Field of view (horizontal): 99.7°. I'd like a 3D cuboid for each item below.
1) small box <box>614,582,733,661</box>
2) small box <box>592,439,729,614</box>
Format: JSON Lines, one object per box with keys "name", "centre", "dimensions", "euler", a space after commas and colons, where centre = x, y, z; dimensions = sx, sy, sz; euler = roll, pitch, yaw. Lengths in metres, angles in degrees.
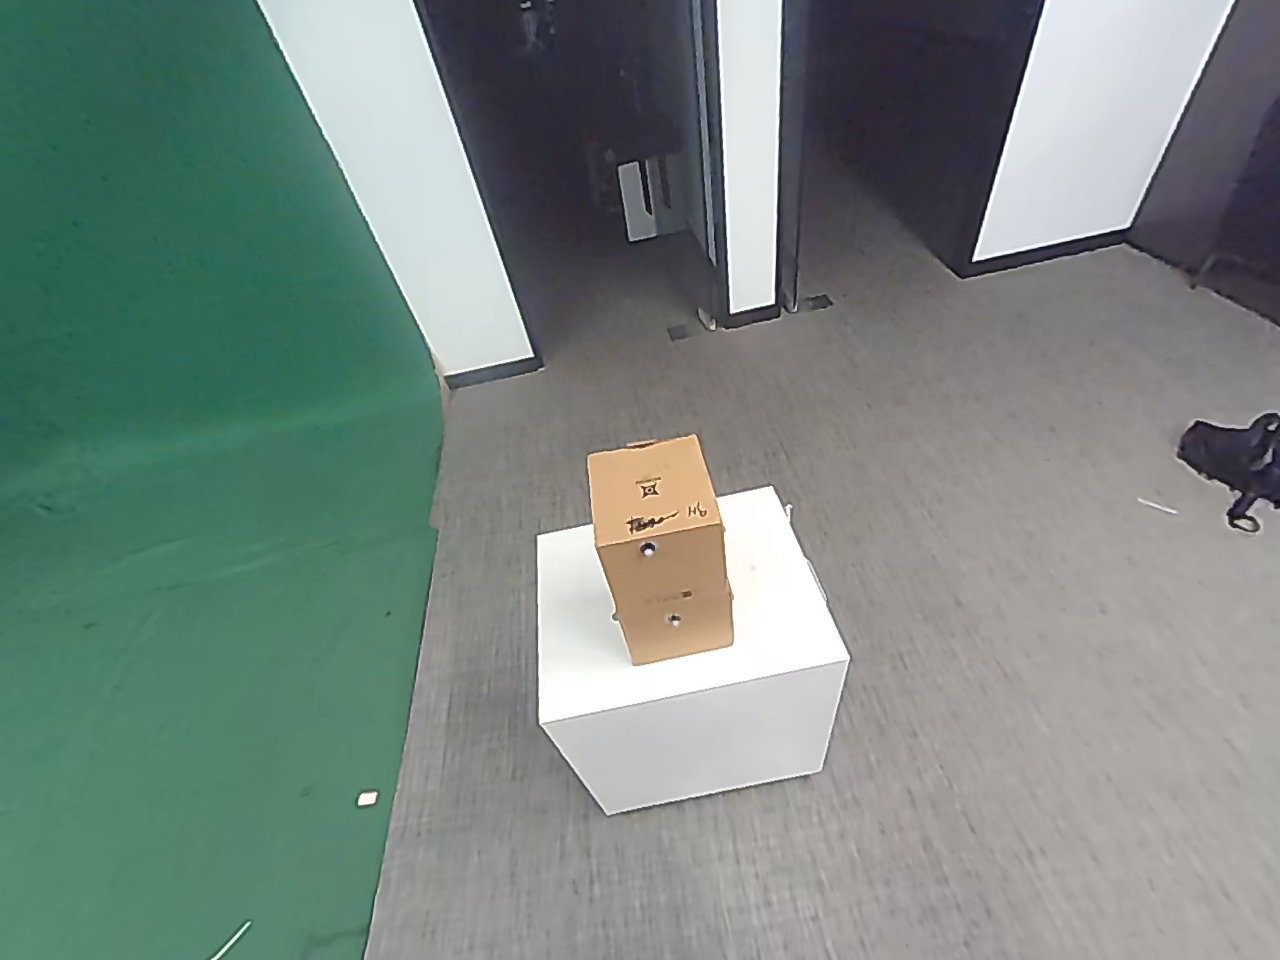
{"name": "small box", "centre": [0.053, 0.185, 0.913], "dimensions": [0.179, 0.176, 0.168], "euler": [-11, 45, 0]}
{"name": "small box", "centre": [0.030, 0.070, 0.803], "dimensions": [0.168, 0.176, 0.179], "euler": [-12, 45, -1]}
